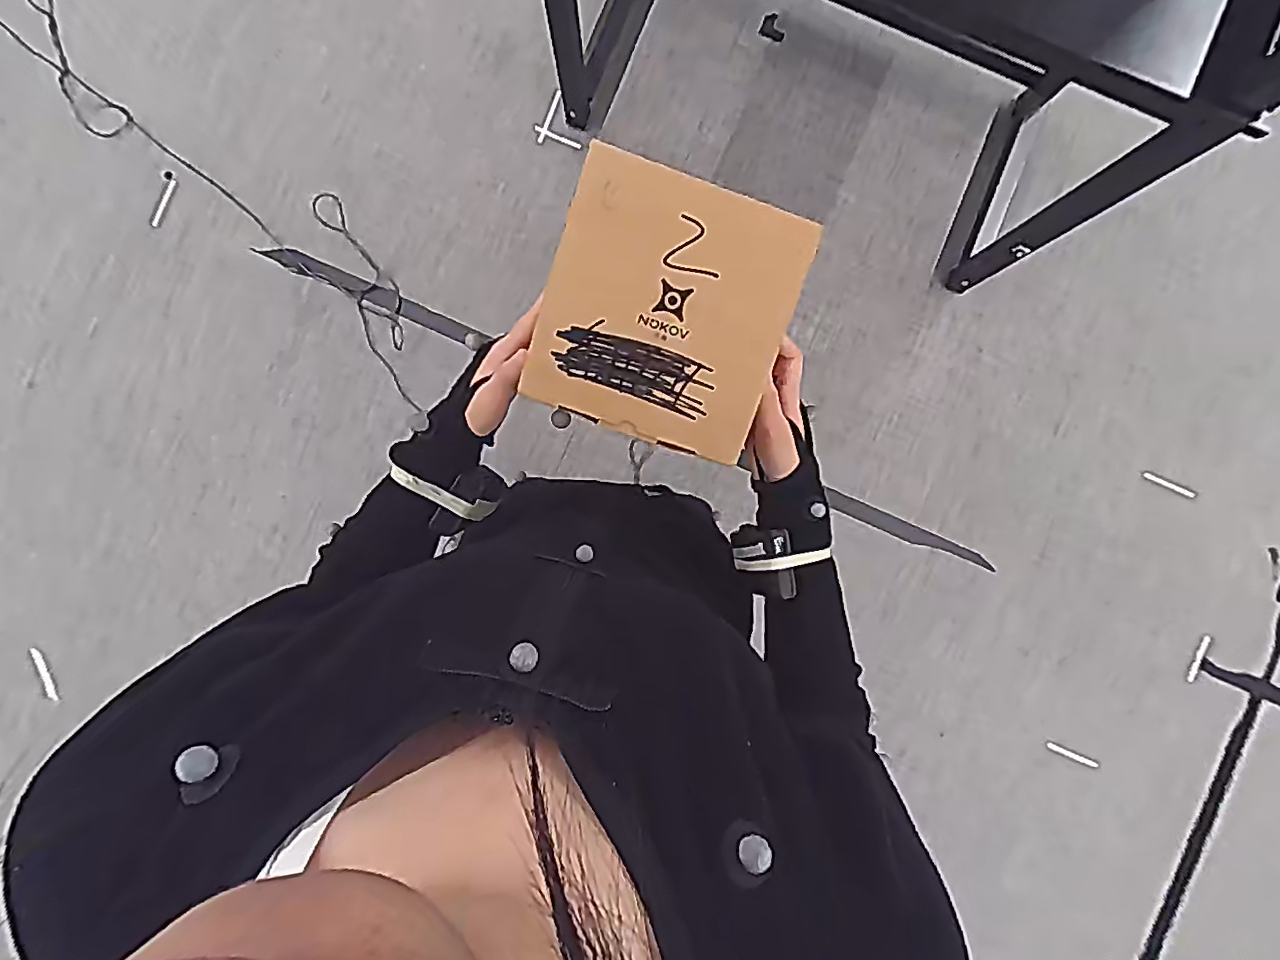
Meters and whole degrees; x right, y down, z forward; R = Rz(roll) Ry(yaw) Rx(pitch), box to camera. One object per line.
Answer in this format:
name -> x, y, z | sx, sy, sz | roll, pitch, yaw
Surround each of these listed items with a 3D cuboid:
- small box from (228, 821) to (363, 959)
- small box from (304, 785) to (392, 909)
small box -> -0.768, 0.933, 1.228 | 0.168, 0.176, 0.179 | 26, 88, -1
small box -> -0.770, 0.934, 1.391 | 0.168, 0.176, 0.179 | 22, 89, -2
